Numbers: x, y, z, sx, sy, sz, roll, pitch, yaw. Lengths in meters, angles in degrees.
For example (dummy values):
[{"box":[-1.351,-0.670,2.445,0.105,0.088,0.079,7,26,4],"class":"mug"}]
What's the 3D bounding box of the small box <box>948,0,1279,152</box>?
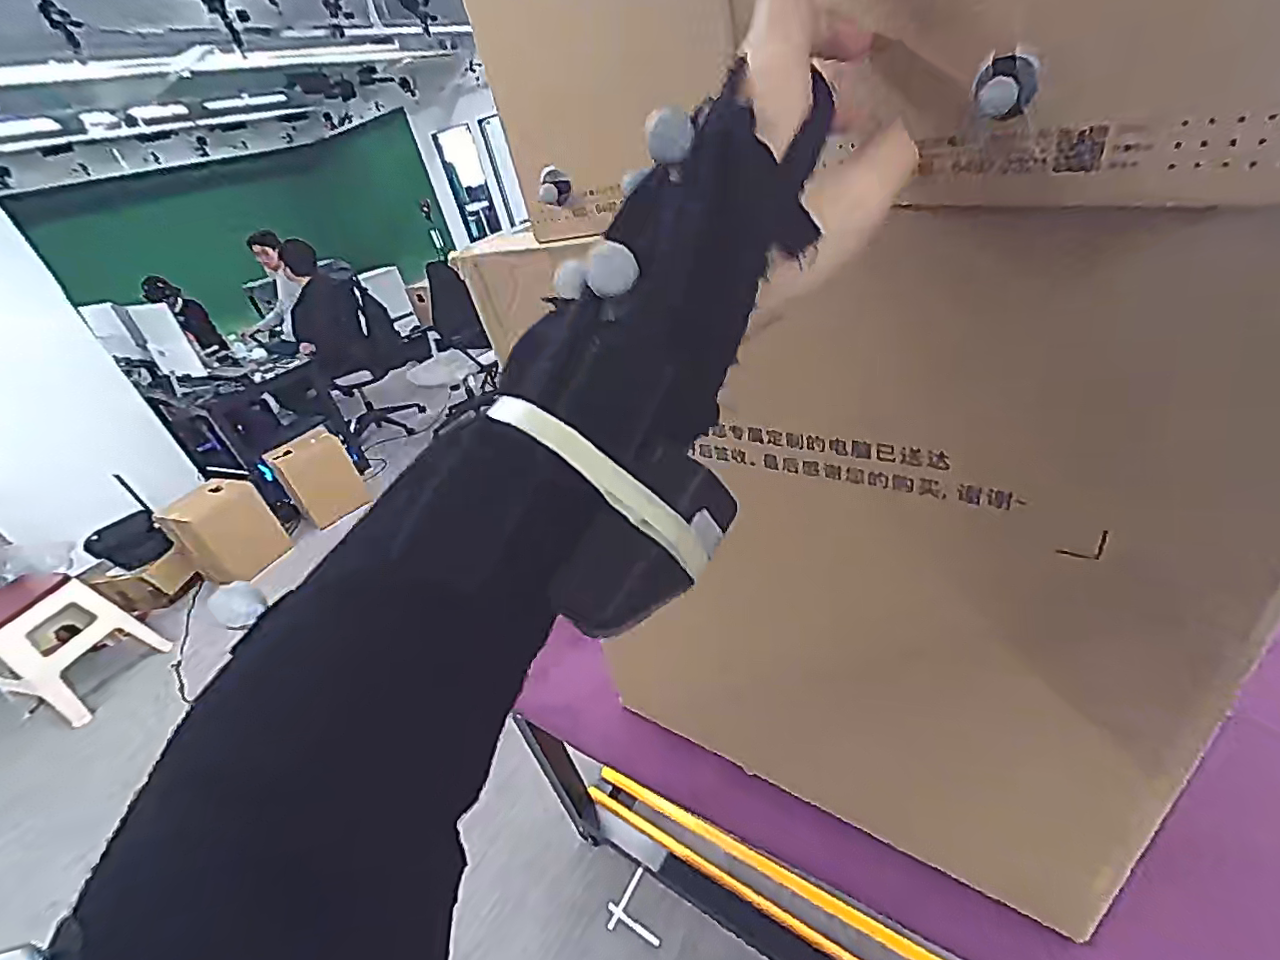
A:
[{"box":[0.319,-0.342,0.360,0.179,0.176,0.168,6,37,32],"class":"small box"}]
